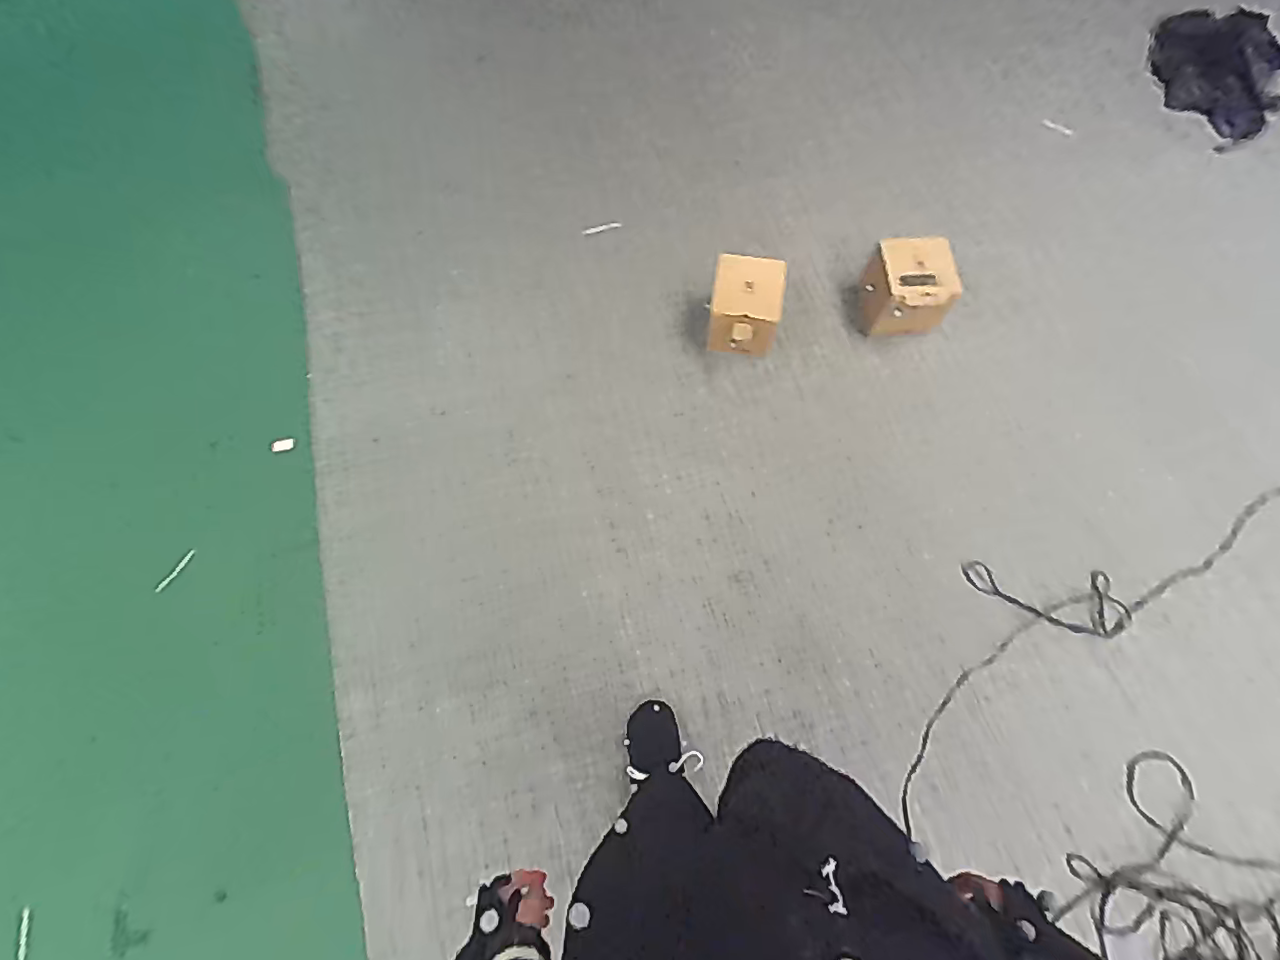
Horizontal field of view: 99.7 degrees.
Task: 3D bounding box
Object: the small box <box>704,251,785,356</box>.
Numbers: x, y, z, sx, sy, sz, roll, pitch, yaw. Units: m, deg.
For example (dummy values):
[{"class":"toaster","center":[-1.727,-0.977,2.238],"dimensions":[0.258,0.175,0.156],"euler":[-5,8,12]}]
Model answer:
[{"class":"small box","center":[0.258,-0.440,1.364],"dimensions":[0.168,0.176,0.179],"euler":[9,73,4]}]
